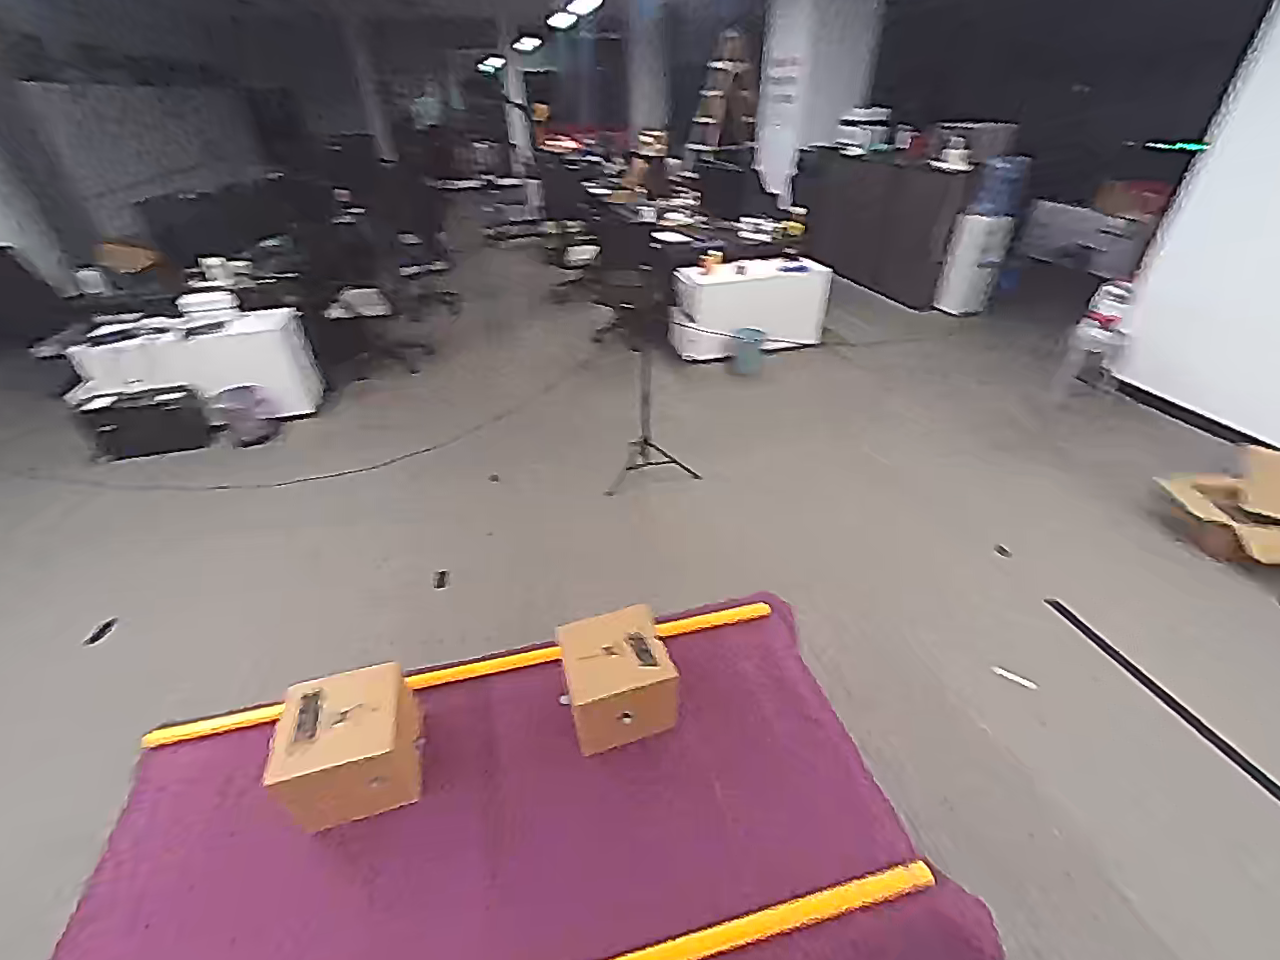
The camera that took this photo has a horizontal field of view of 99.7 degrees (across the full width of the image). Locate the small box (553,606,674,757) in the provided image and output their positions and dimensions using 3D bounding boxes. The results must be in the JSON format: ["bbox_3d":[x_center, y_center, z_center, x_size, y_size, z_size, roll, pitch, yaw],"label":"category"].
[{"bbox_3d":[-0.048,0.361,0.975,0.179,0.176,0.168,-13,38,-13],"label":"small box"}]
